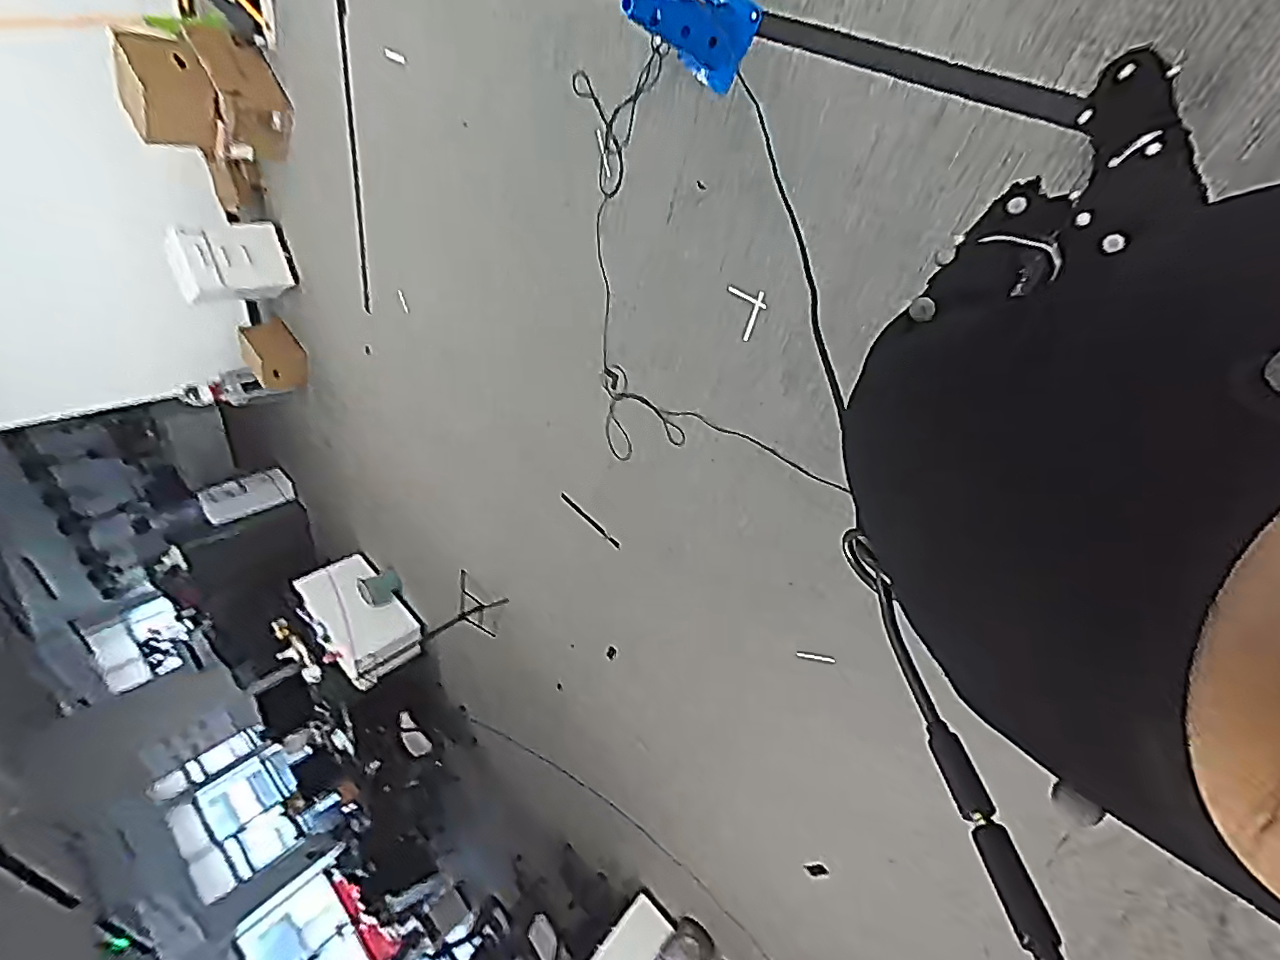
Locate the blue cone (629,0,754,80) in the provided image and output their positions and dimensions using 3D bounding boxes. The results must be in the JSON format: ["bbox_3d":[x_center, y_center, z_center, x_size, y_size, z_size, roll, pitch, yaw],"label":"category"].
[{"bbox_3d":[0.080,-1.111,1.282,0.193,0.380,0.192,50,135,12],"label":"blue cone"}]
